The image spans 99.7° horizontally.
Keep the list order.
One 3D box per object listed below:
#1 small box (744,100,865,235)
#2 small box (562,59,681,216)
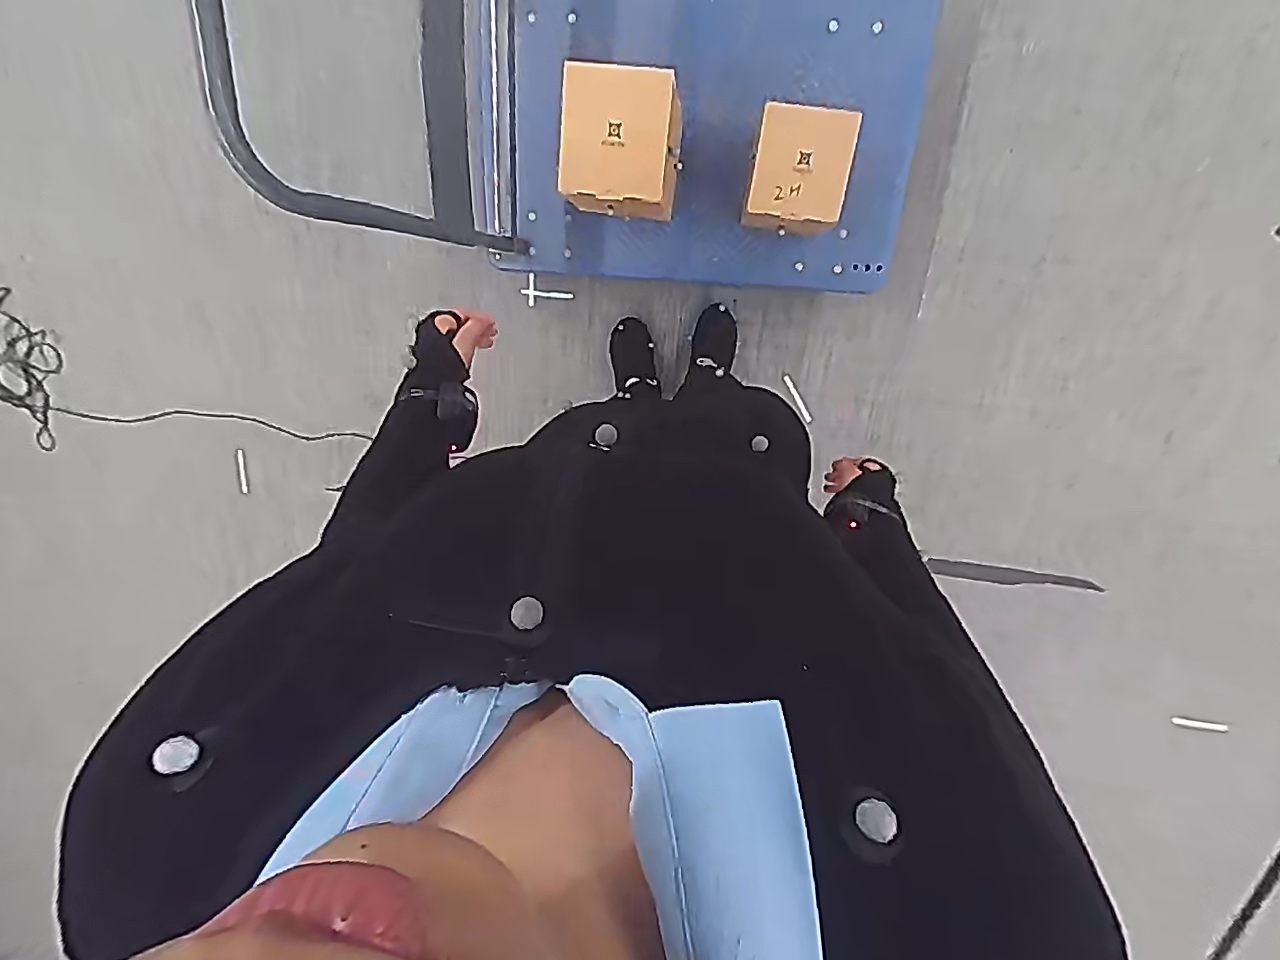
[{"bbox_3d":[0.296,-0.575,1.016,0.168,0.176,0.179,9,108,3],"label":"small box"},{"bbox_3d":[-0.025,-0.547,0.886,0.168,0.176,0.179,7,109,3],"label":"small box"}]
